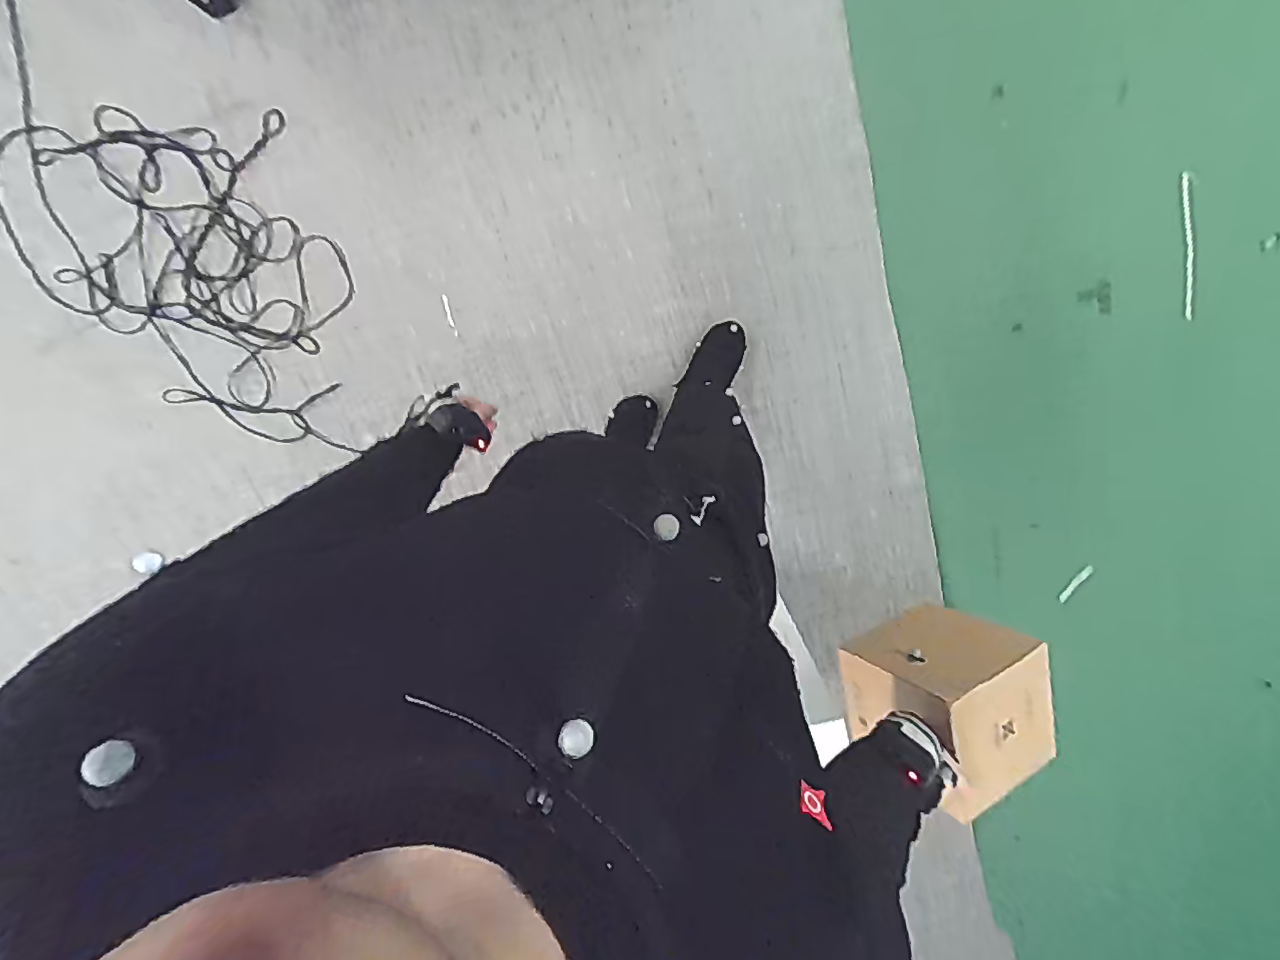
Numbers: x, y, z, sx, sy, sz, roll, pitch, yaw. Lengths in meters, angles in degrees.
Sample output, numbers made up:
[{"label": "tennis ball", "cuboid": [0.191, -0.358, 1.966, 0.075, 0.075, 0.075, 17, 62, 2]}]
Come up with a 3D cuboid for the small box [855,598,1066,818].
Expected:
[{"label": "small box", "cuboid": [0.402, 0.276, 0.699, 0.179, 0.176, 0.168, -20, 103, -23]}]
